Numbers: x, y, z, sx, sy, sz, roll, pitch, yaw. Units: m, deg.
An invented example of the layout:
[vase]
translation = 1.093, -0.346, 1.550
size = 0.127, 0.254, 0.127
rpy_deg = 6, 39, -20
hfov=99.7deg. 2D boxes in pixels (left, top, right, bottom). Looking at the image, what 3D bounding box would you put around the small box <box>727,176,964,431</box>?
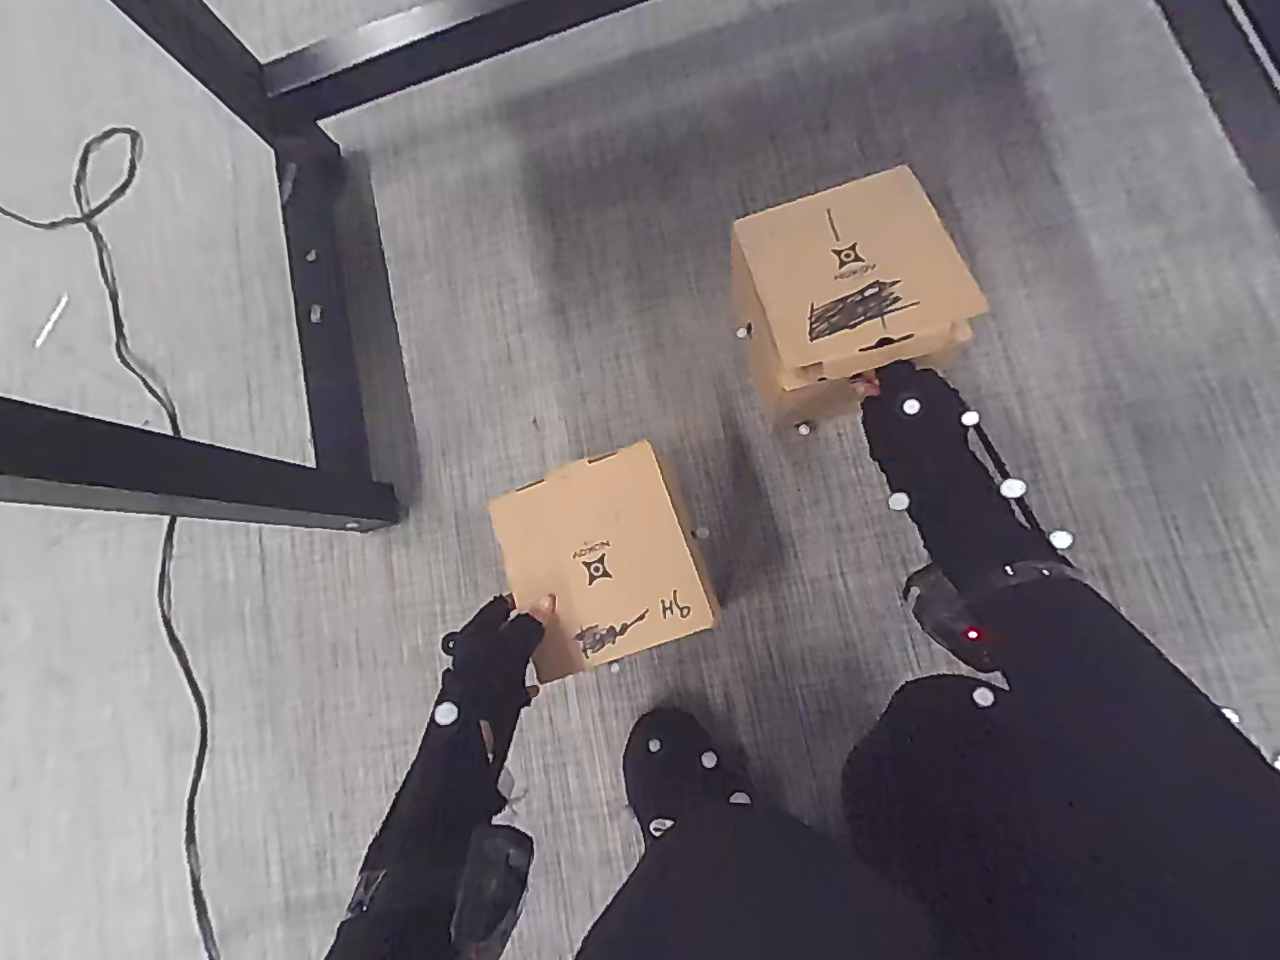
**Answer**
[small box]
translation = 0.194, -0.161, 0.561
size = 0.168, 0.176, 0.179
rpy_deg = -15, 77, 7
